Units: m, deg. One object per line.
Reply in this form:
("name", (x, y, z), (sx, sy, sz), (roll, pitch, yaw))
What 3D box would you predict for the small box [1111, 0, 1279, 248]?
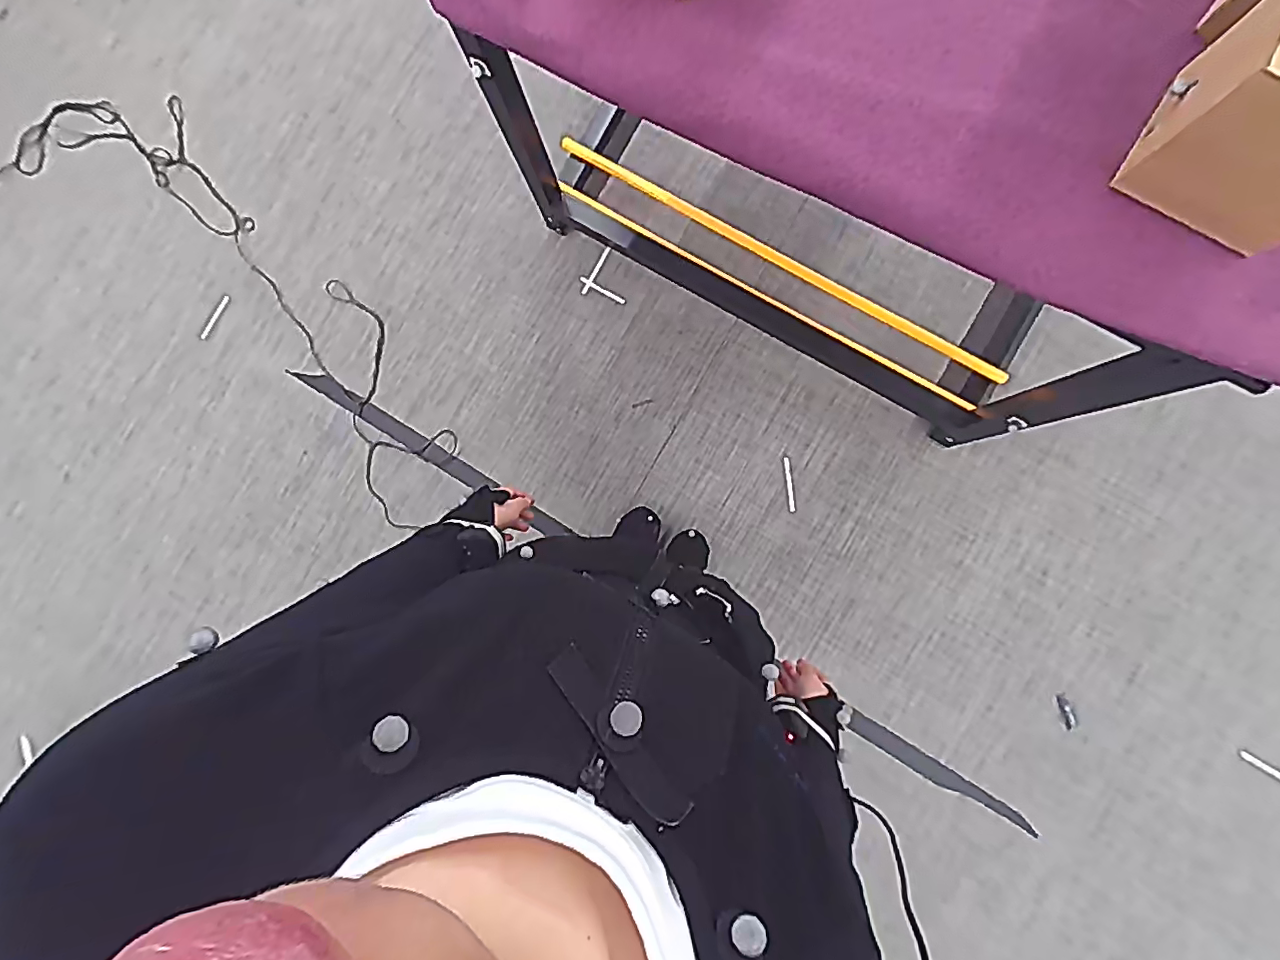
("small box", (0.657, -0.370, 0.549), (0.179, 0.176, 0.168), (32, 88, 6))
